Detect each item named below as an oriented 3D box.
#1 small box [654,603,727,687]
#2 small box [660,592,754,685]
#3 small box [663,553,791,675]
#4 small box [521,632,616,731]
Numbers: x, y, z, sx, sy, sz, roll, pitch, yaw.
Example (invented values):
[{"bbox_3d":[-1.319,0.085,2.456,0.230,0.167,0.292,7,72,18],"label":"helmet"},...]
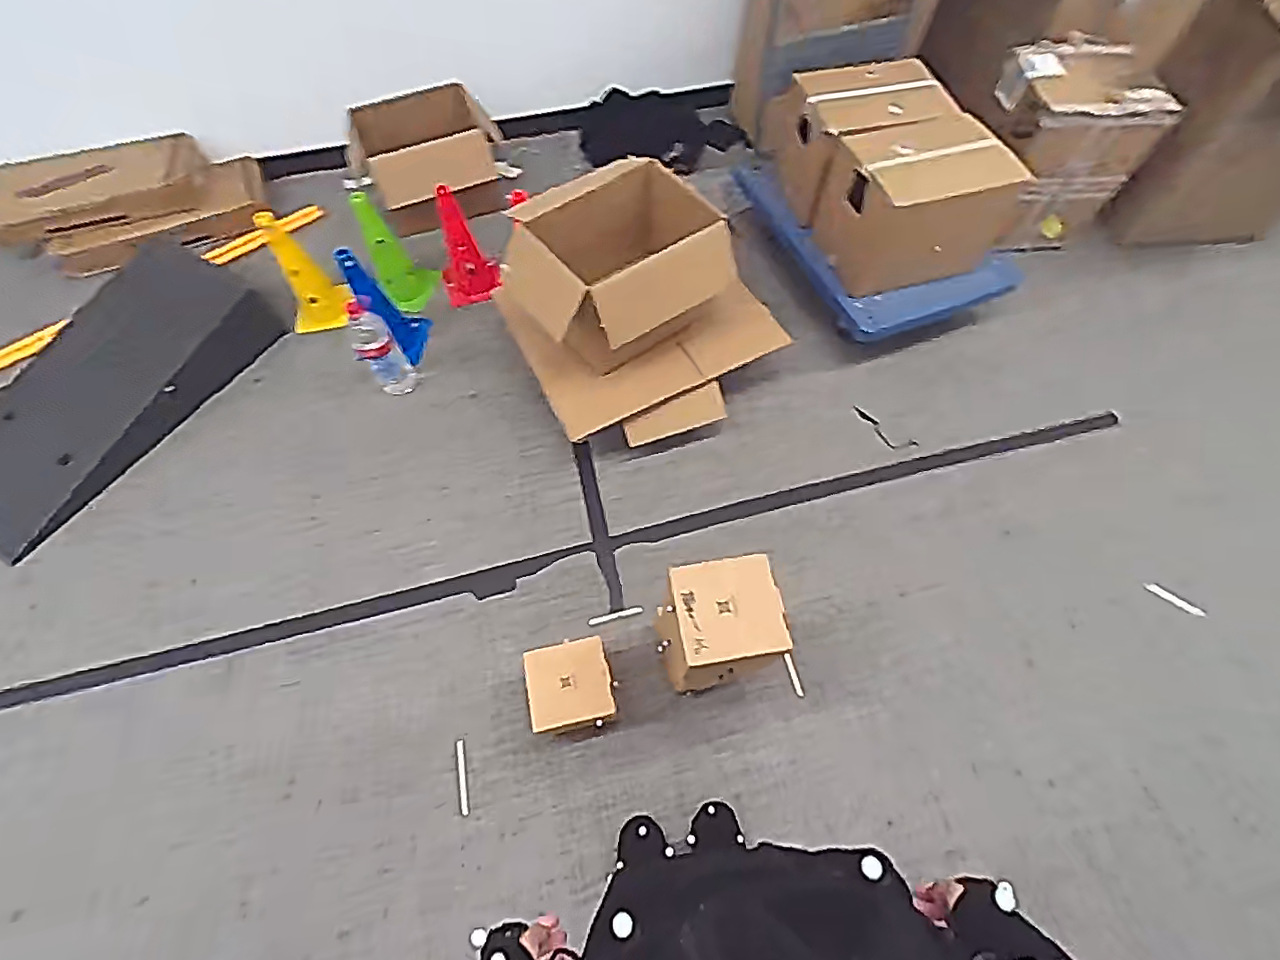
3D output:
[{"bbox_3d":[0.133,0.374,1.262,0.168,0.176,0.179,-13,63,-7],"label":"small box"},{"bbox_3d":[0.142,0.314,1.109,0.179,0.176,0.168,-11,64,-6],"label":"small box"},{"bbox_3d":[0.143,0.243,0.961,0.179,0.176,0.168,-7,64,-5],"label":"small box"},{"bbox_3d":[-0.156,0.460,1.220,0.179,0.176,0.168,-12,63,-6],"label":"small box"}]
